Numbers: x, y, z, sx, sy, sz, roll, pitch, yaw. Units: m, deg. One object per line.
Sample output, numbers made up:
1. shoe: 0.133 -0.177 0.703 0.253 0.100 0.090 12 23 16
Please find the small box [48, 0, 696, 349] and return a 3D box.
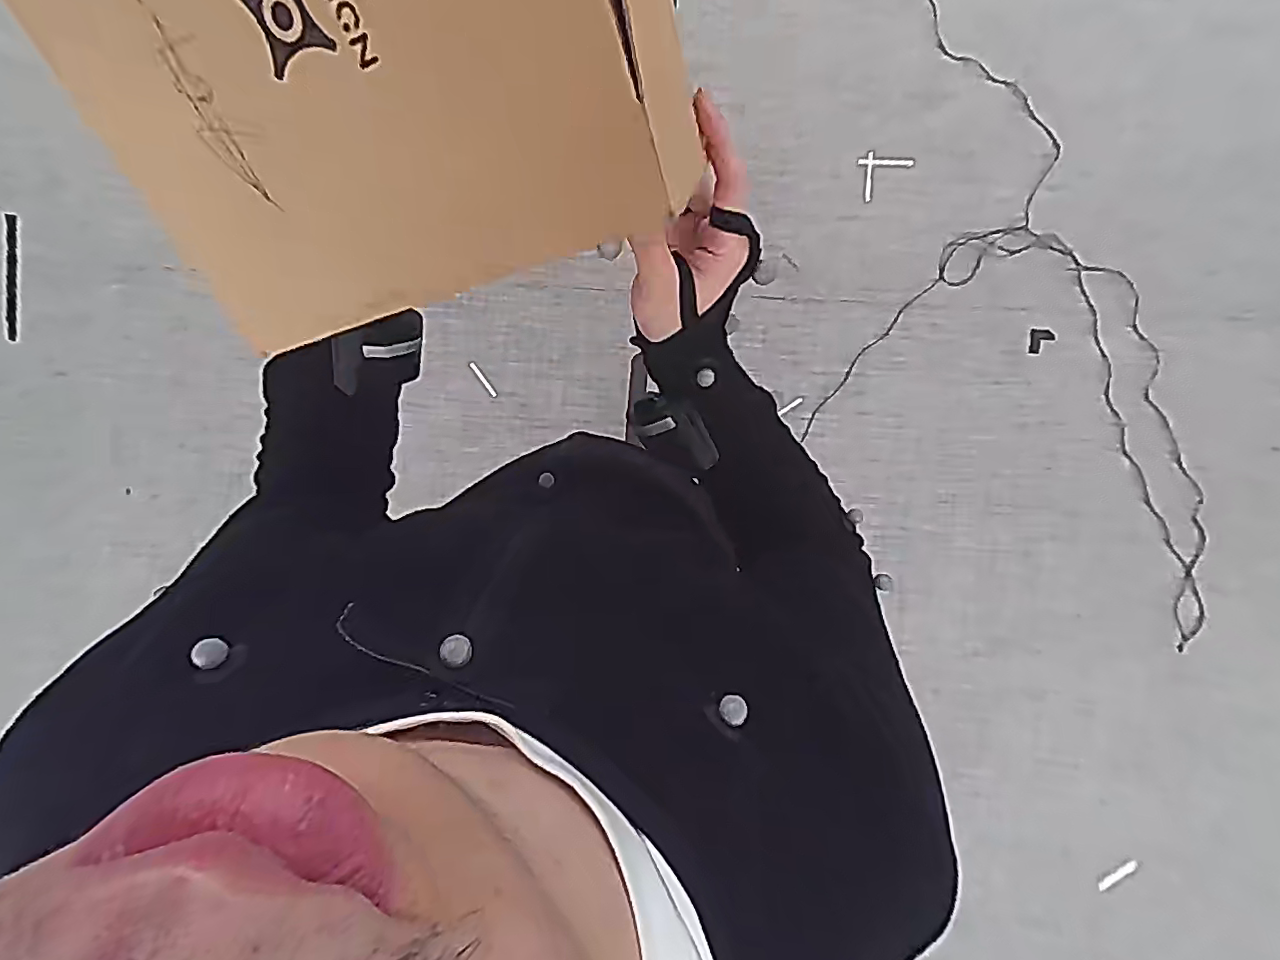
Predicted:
1. small box: -0.080 -0.181 0.228 0.179 0.176 0.168 -12 120 20
